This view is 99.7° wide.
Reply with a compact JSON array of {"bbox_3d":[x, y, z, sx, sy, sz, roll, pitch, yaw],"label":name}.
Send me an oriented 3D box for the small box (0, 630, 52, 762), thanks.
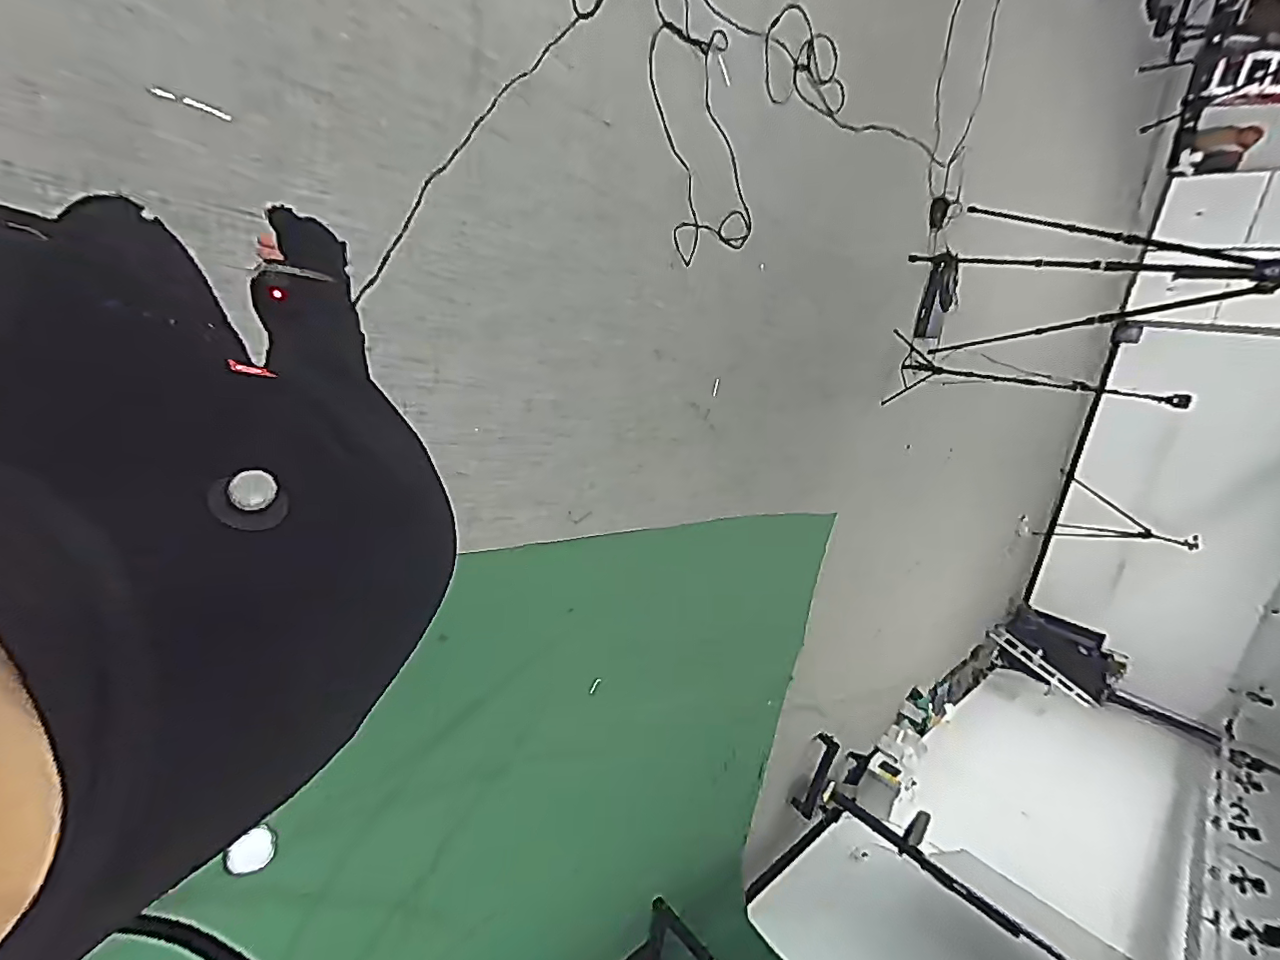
[{"bbox_3d":[-1.216,0.406,0.997,0.168,0.176,0.179,-2,107,-44],"label":"small box"}]
